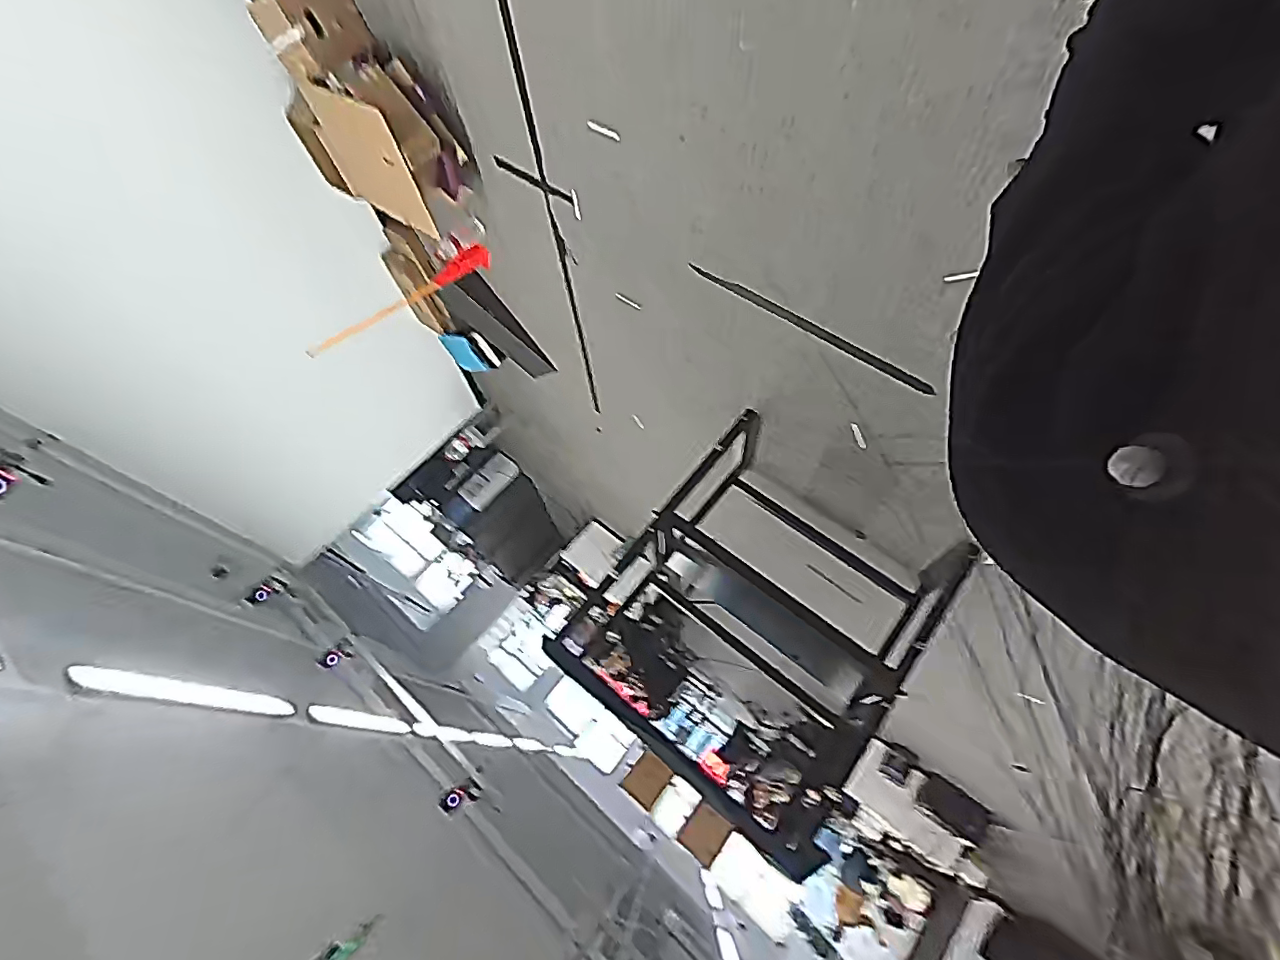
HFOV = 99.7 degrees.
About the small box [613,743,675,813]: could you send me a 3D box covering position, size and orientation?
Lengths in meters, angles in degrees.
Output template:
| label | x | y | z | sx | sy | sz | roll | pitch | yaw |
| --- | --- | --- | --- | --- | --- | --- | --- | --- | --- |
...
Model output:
| label | x | y | z | sx | sy | sz | roll | pitch | yaw |
| --- | --- | --- | --- | --- | --- | --- | --- | --- | --- |
| small box | 0.019 | 1.126 | 2.057 | 0.168 | 0.176 | 0.179 | 37 | 162 | 19 |
